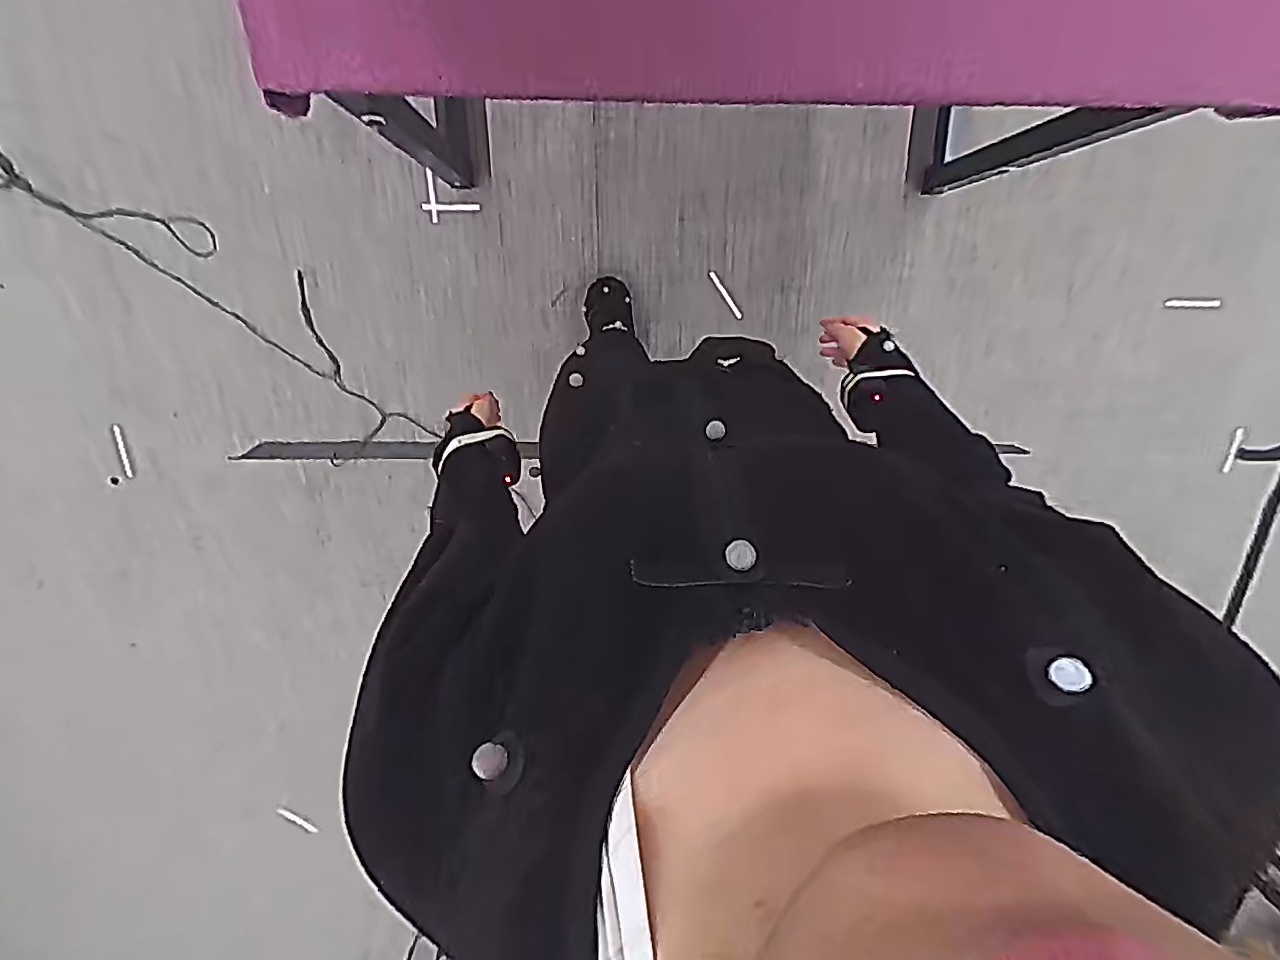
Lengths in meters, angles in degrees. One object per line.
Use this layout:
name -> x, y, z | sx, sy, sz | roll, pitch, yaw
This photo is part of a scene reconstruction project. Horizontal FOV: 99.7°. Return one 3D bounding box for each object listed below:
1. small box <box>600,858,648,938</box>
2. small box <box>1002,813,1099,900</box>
small box -> -0.060, 1.497, 1.948 | 0.168, 0.176, 0.179 | -3, 110, -1
small box -> 1.325, 1.226, 1.763 | 0.168, 0.176, 0.179 | 3, 107, -5
